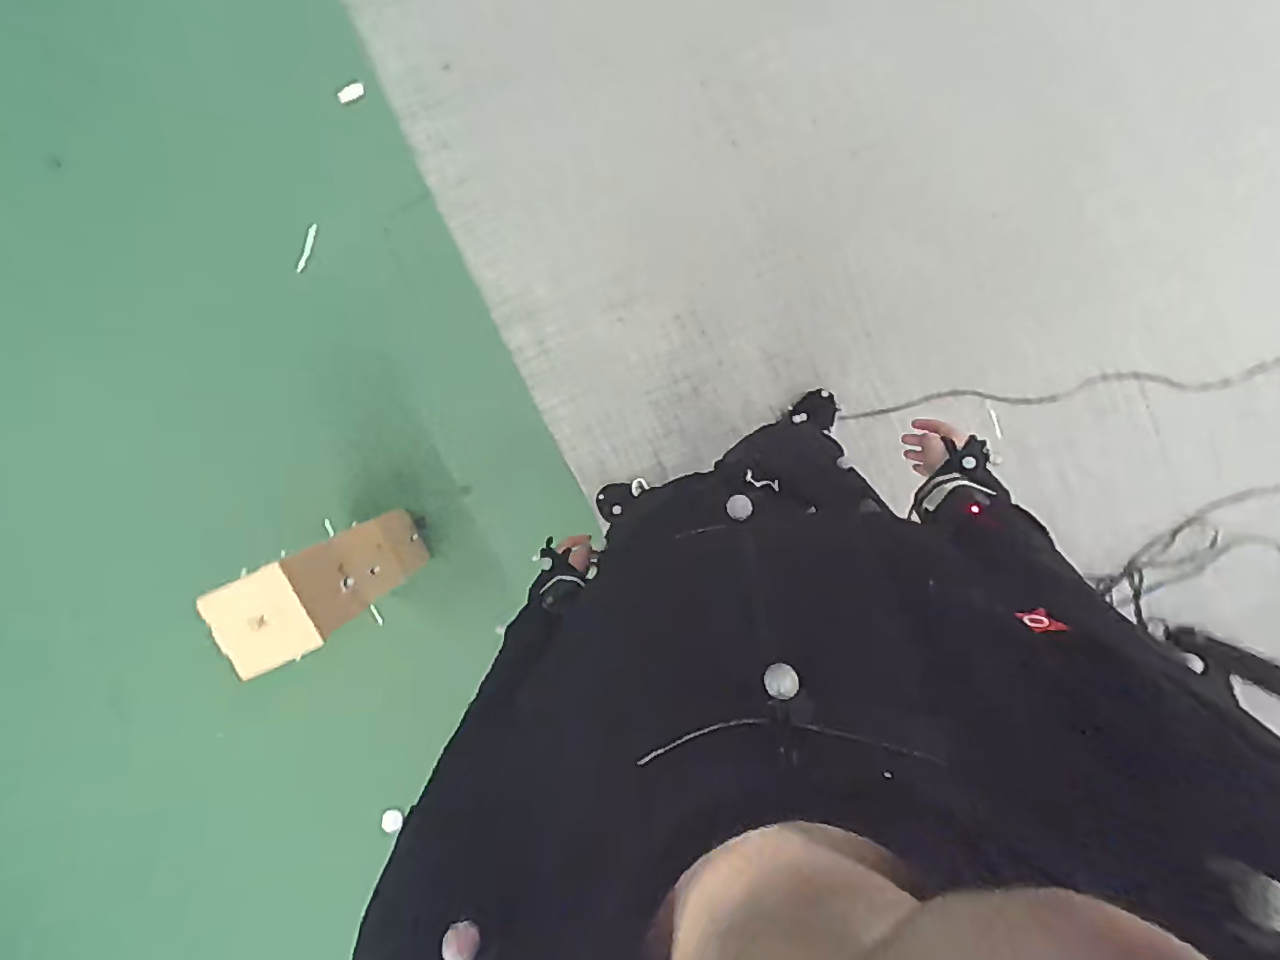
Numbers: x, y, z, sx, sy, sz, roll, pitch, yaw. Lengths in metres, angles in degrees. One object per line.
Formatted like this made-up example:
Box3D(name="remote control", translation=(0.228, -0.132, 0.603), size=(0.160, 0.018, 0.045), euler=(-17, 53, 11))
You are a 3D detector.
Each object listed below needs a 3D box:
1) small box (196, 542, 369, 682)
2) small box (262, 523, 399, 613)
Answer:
Box3D(name="small box", translation=(-0.656, 0.238, 1.015), size=(0.179, 0.176, 0.168), euler=(-26, 98, 5))
Box3D(name="small box", translation=(-0.657, 0.212, 1.176), size=(0.179, 0.176, 0.168), euler=(-23, 97, 6))
